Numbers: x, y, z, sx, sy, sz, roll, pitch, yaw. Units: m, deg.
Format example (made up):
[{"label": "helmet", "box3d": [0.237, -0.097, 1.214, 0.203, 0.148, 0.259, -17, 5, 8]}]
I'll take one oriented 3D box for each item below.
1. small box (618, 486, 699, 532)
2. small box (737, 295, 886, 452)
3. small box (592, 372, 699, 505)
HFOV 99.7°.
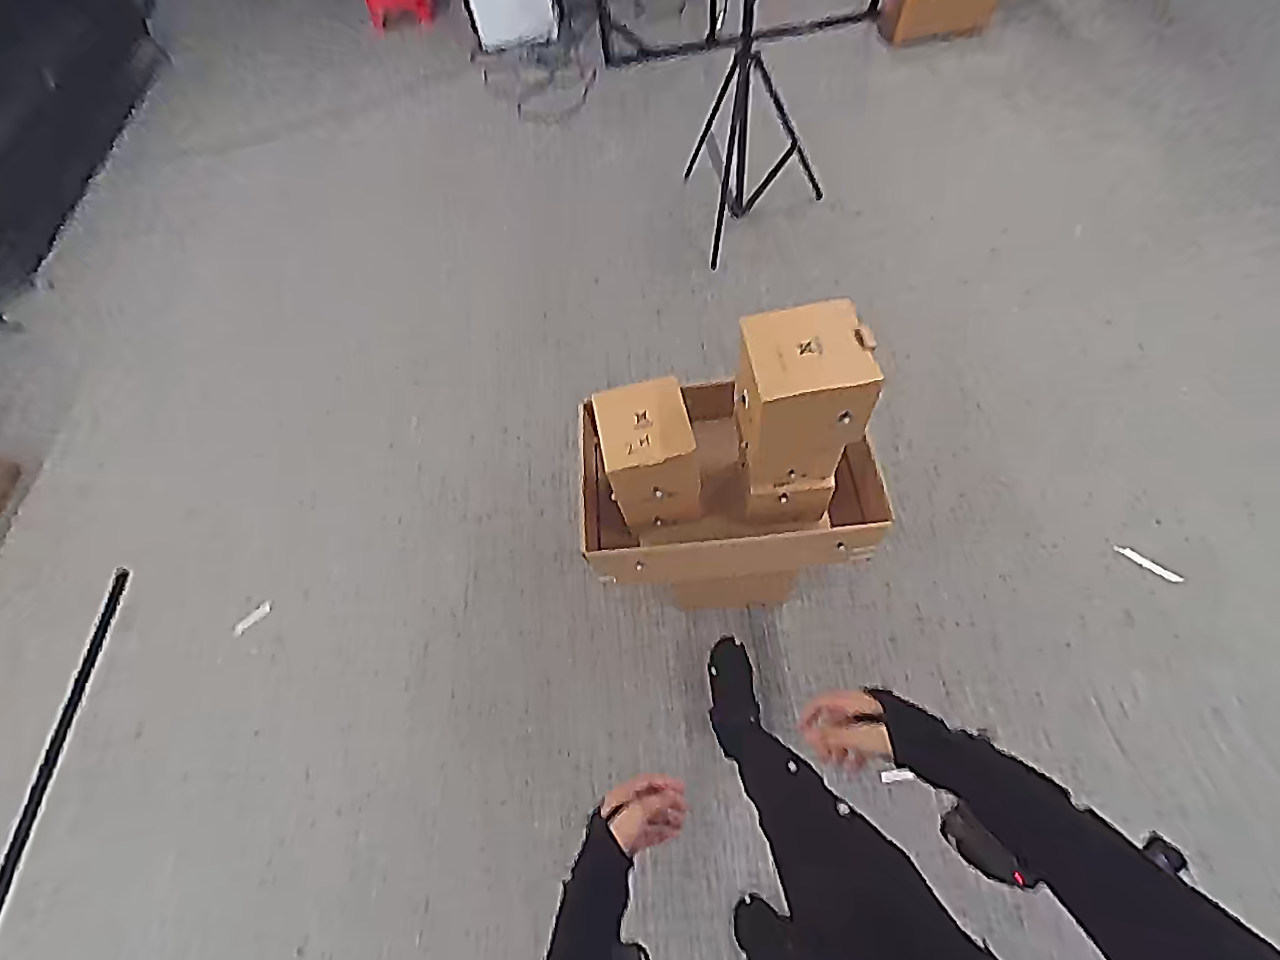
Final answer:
[{"label": "small box", "box3d": [0.031, -0.009, 1.189, 0.168, 0.176, 0.179, -14, 62, 1]}, {"label": "small box", "box3d": [0.258, -0.163, 0.862, 0.179, 0.176, 0.168, -9, 61, 3]}, {"label": "small box", "box3d": [0.013, -0.075, 1.039, 0.168, 0.176, 0.179, -13, 63, 2]}]
